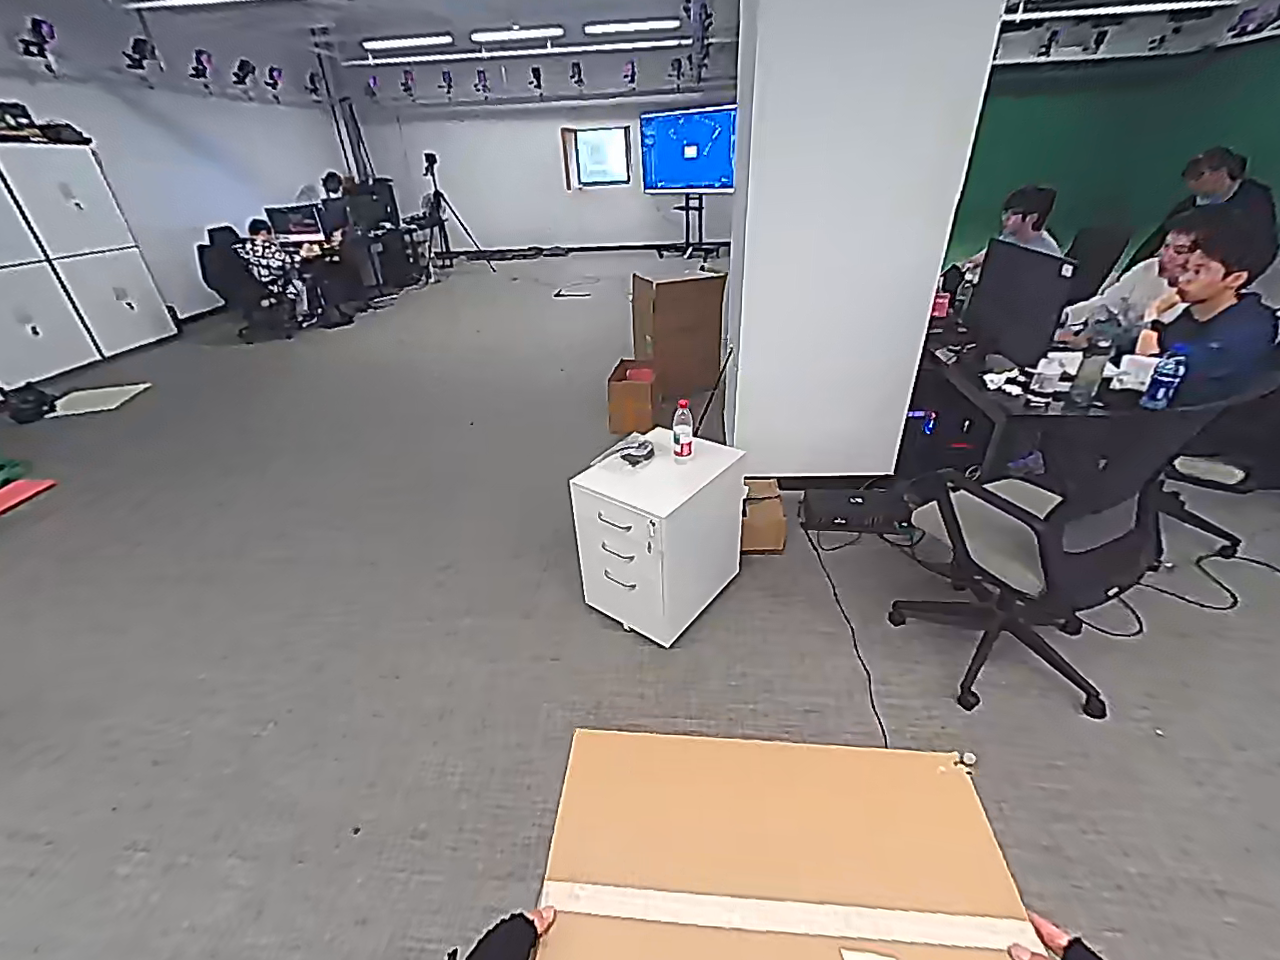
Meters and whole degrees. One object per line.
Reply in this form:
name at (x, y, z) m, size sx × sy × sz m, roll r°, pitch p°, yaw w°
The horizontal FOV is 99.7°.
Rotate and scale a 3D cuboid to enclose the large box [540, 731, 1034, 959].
large box at (0.121, 0.494, 0.543) m, size 0.408 × 0.320 × 0.320 m, roll 2°, pitch 34°, yaw 5°
